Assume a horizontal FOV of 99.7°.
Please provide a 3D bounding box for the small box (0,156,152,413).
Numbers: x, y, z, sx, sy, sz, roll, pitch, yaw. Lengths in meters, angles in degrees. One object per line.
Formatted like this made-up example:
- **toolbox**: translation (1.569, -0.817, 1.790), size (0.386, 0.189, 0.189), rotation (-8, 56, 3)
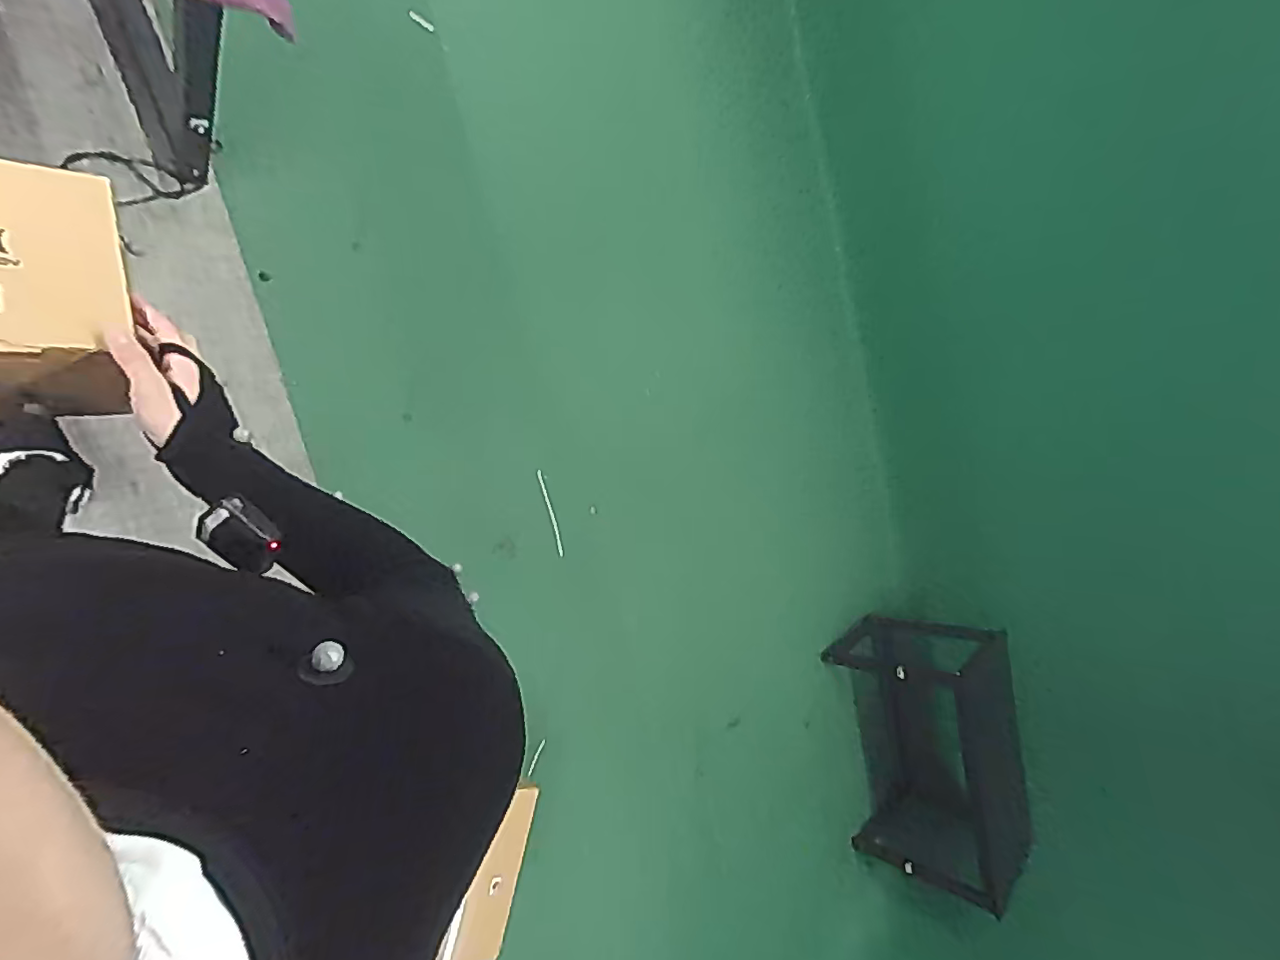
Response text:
- **small box**: translation (-0.580, -0.173, 0.504), size (0.168, 0.176, 0.179), rotation (-9, 82, -39)
